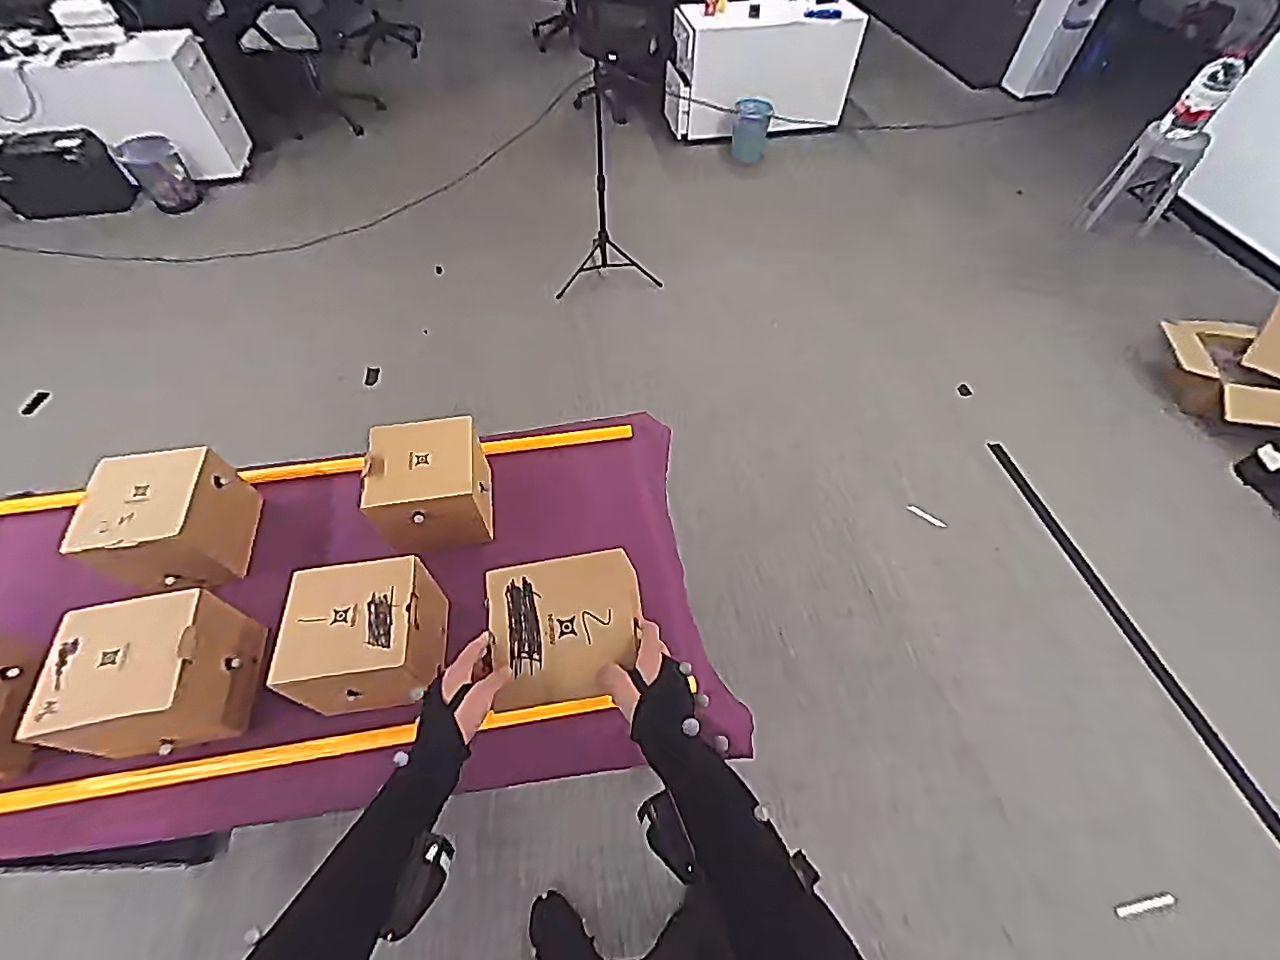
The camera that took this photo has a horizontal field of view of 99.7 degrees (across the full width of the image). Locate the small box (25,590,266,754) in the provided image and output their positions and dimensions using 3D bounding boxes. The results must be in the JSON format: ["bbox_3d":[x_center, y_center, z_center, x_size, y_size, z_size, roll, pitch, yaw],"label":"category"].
[{"bbox_3d":[-0.680,0.278,0.776,0.179,0.176,0.168,-9,56,-8],"label":"small box"}]

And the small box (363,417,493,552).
[{"bbox_3d":[-0.364,0.012,0.965,0.179,0.176,0.168,-8,57,-5],"label":"small box"}]

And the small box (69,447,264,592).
[{"bbox_3d":[-0.781,0.069,0.918,0.168,0.176,0.179,-8,58,-6],"label":"small box"}]

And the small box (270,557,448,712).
[{"bbox_3d":[-0.400,0.234,0.809,0.179,0.176,0.168,-7,54,-4],"label":"small box"}]

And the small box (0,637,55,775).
[{"bbox_3d":[-0.971,0.316,0.743,0.179,0.176,0.168,-7,55,-9],"label":"small box"}]
